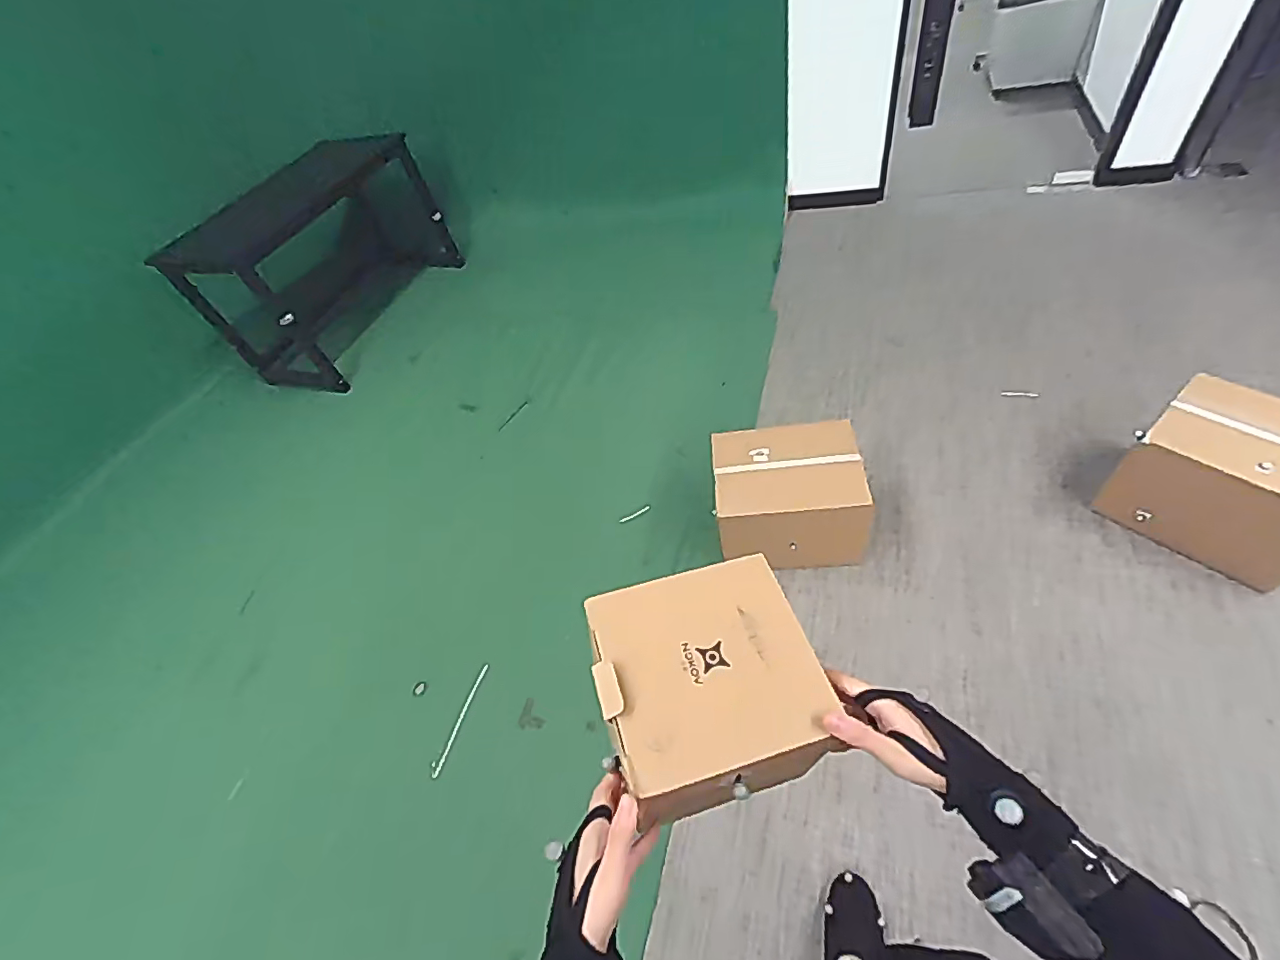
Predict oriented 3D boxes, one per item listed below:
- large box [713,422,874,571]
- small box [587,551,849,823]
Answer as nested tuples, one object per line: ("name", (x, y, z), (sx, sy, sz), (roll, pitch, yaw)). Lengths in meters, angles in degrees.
("large box", (0.445, 0.064, 1.619), (0.408, 0.320, 0.320), (-7, 49, 12))
("small box", (0.058, 0.196, 0.505), (0.179, 0.176, 0.168), (-12, 51, -10))
